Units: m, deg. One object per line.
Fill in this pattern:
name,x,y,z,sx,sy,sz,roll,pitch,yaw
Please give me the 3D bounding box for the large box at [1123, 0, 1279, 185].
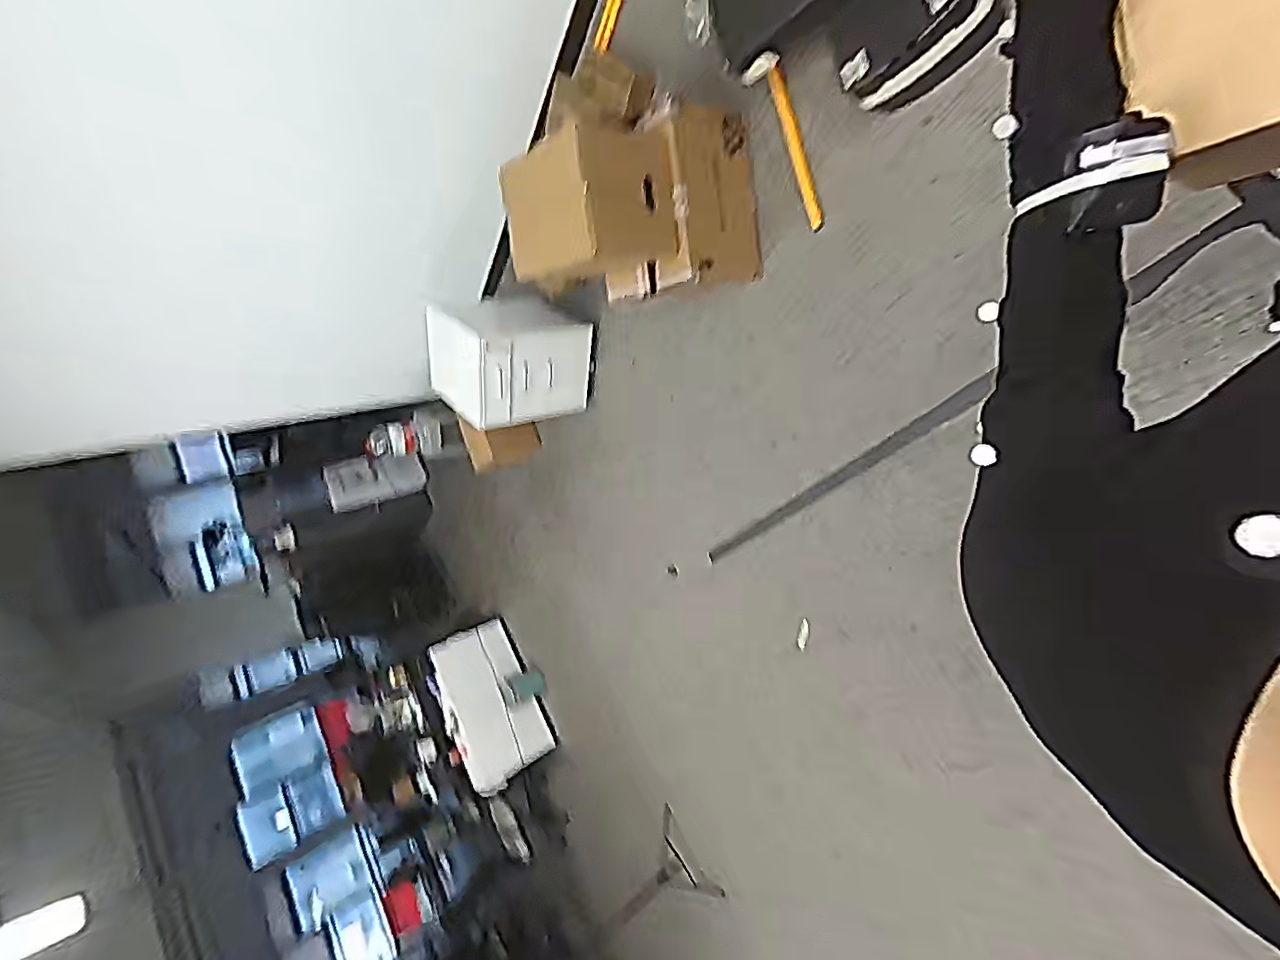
large box,0.544,-0.411,0.288,0.408,0.320,0.320,-1,105,51
